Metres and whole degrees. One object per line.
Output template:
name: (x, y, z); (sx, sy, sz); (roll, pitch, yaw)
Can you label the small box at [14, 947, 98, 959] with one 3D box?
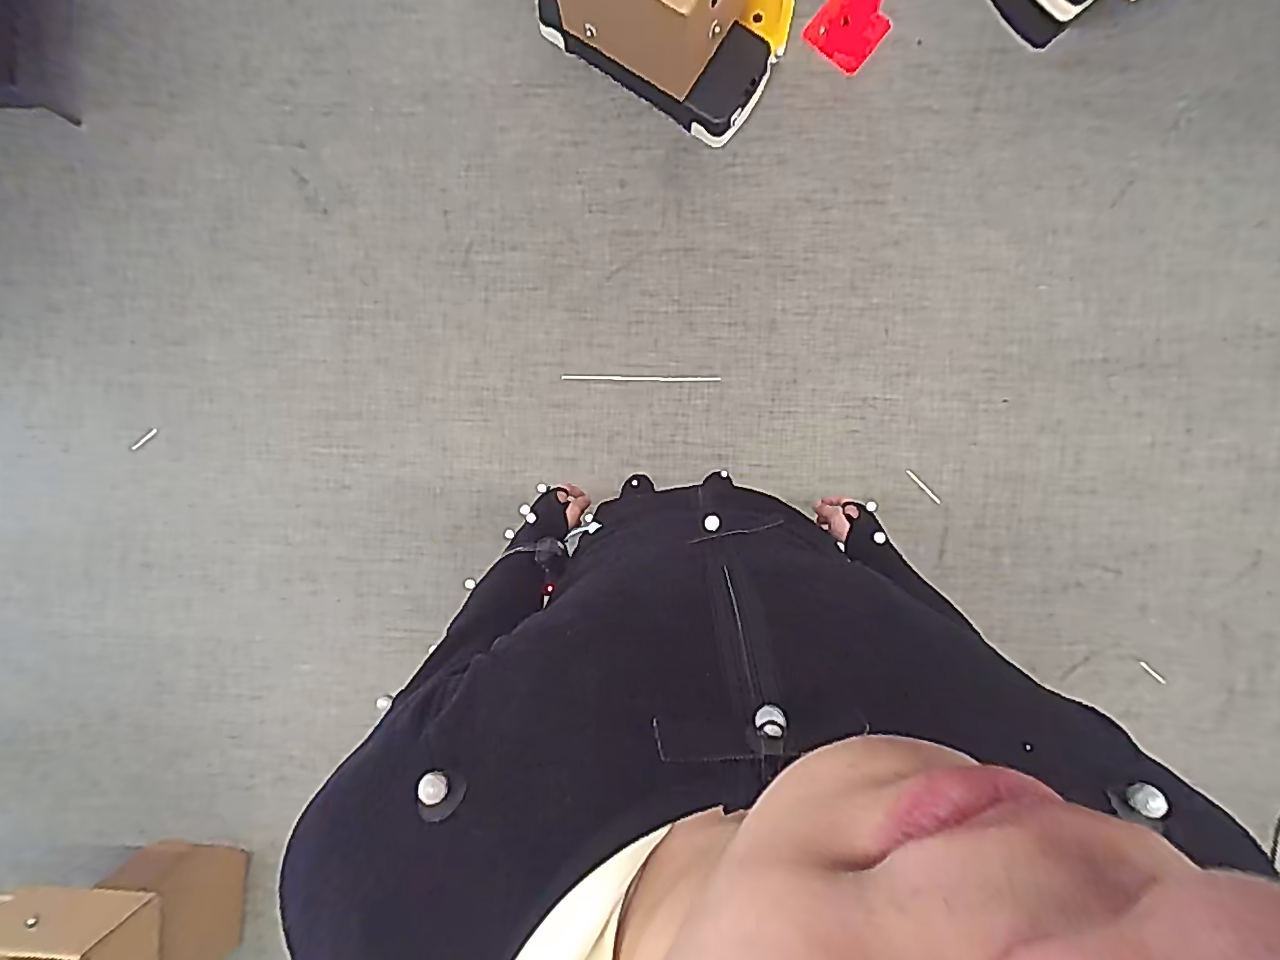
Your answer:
small box: (-1.379, 1.193, 1.203); (0.179, 0.176, 0.168); (4, 90, 1)
